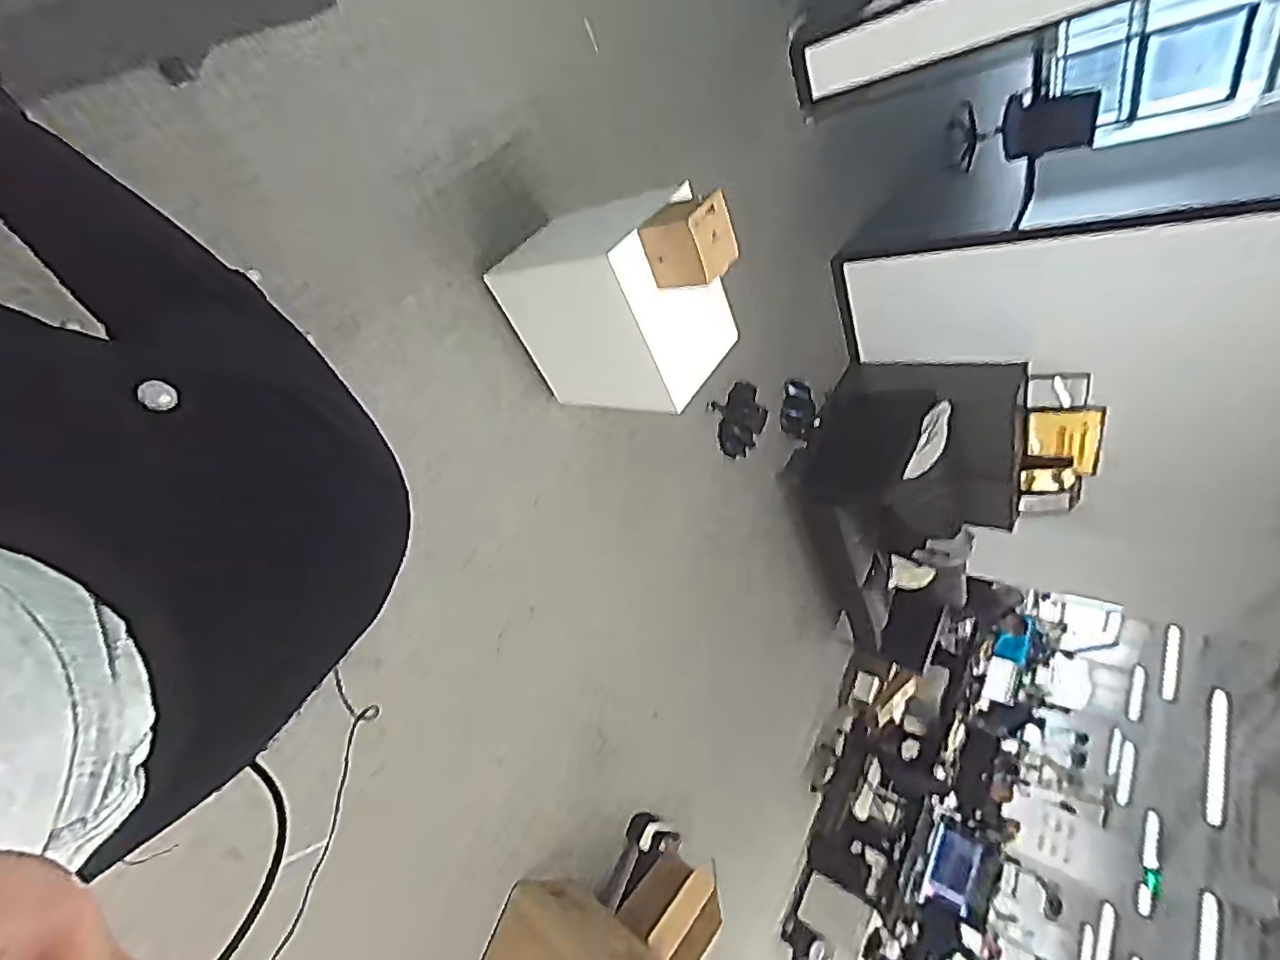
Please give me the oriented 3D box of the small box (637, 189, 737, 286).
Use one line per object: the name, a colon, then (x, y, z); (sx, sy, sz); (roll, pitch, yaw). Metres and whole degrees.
small box: (0.123, -0.623, 1.404); (0.168, 0.176, 0.179); (-52, 134, -28)
